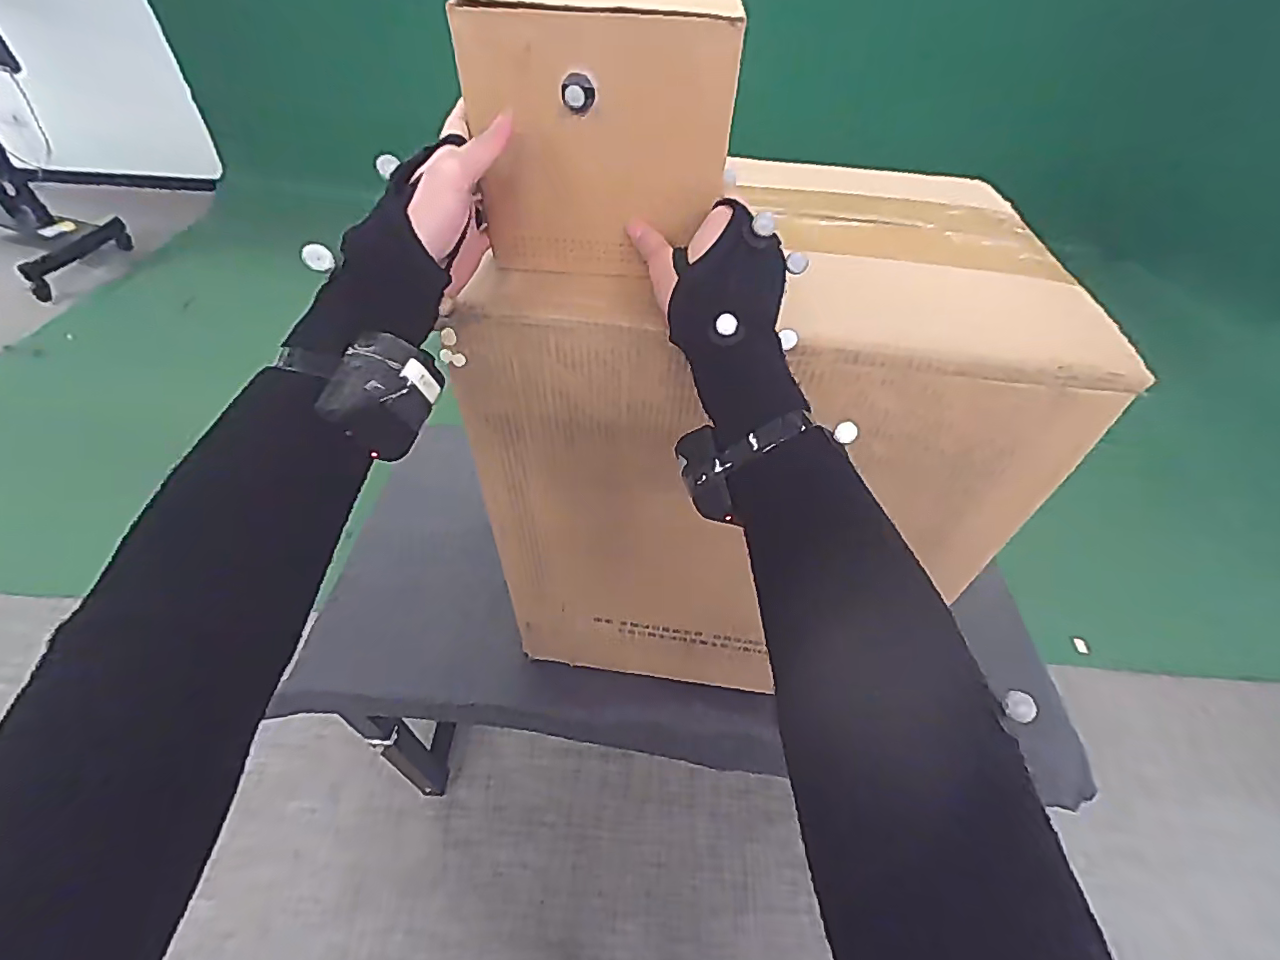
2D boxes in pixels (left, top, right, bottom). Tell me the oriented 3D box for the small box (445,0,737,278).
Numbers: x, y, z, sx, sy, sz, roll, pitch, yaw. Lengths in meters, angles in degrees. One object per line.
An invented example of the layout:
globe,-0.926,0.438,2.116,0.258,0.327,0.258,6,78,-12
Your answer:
small box,-0.023,-0.281,0.431,0.179,0.176,0.168,7,52,5
